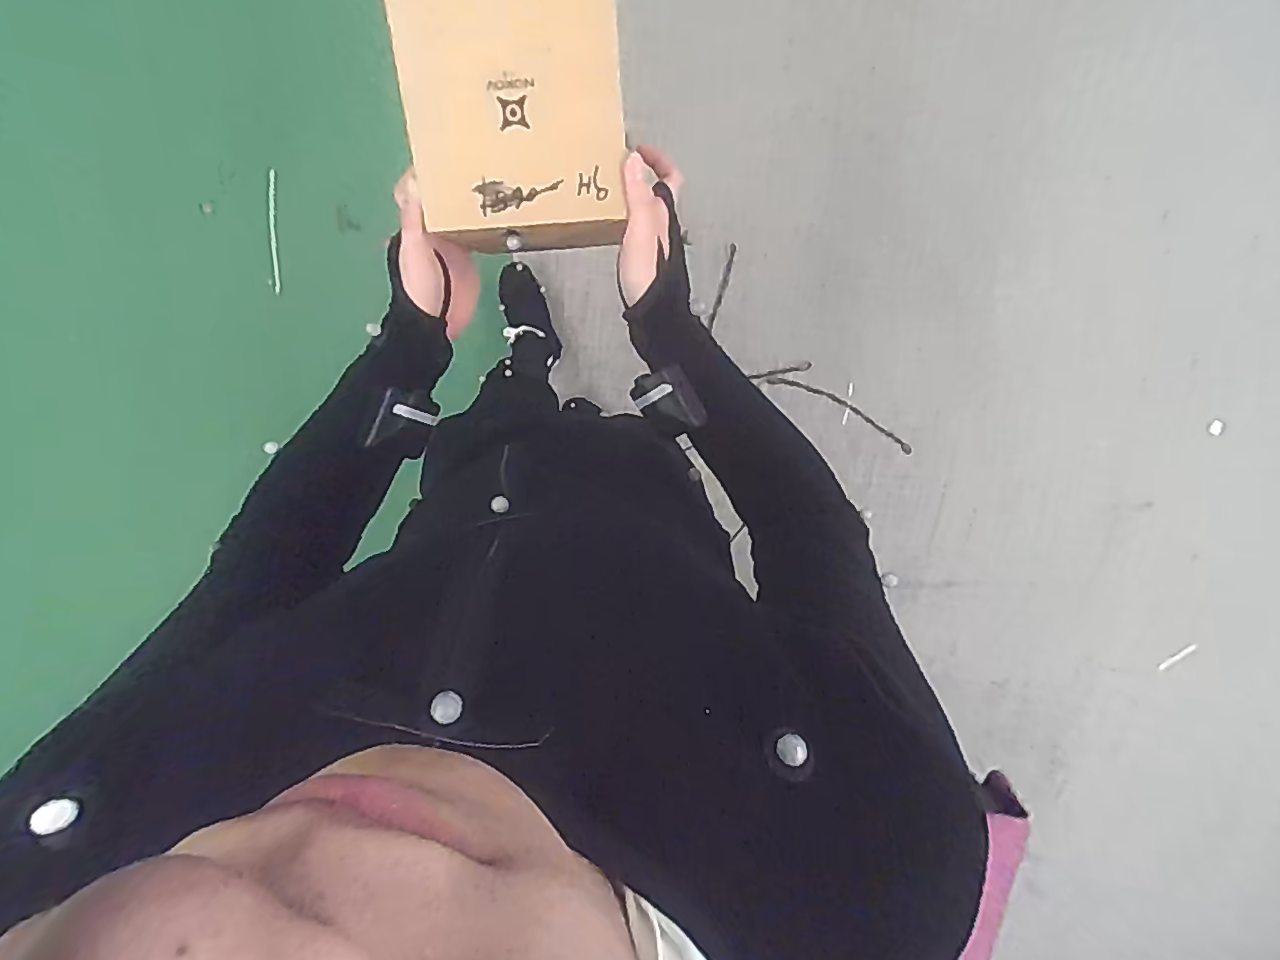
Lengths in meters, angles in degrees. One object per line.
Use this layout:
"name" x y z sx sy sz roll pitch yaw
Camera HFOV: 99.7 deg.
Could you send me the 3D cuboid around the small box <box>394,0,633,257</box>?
"small box" -0.093 -0.304 0.475 0.168 0.176 0.179 -3 106 -1
